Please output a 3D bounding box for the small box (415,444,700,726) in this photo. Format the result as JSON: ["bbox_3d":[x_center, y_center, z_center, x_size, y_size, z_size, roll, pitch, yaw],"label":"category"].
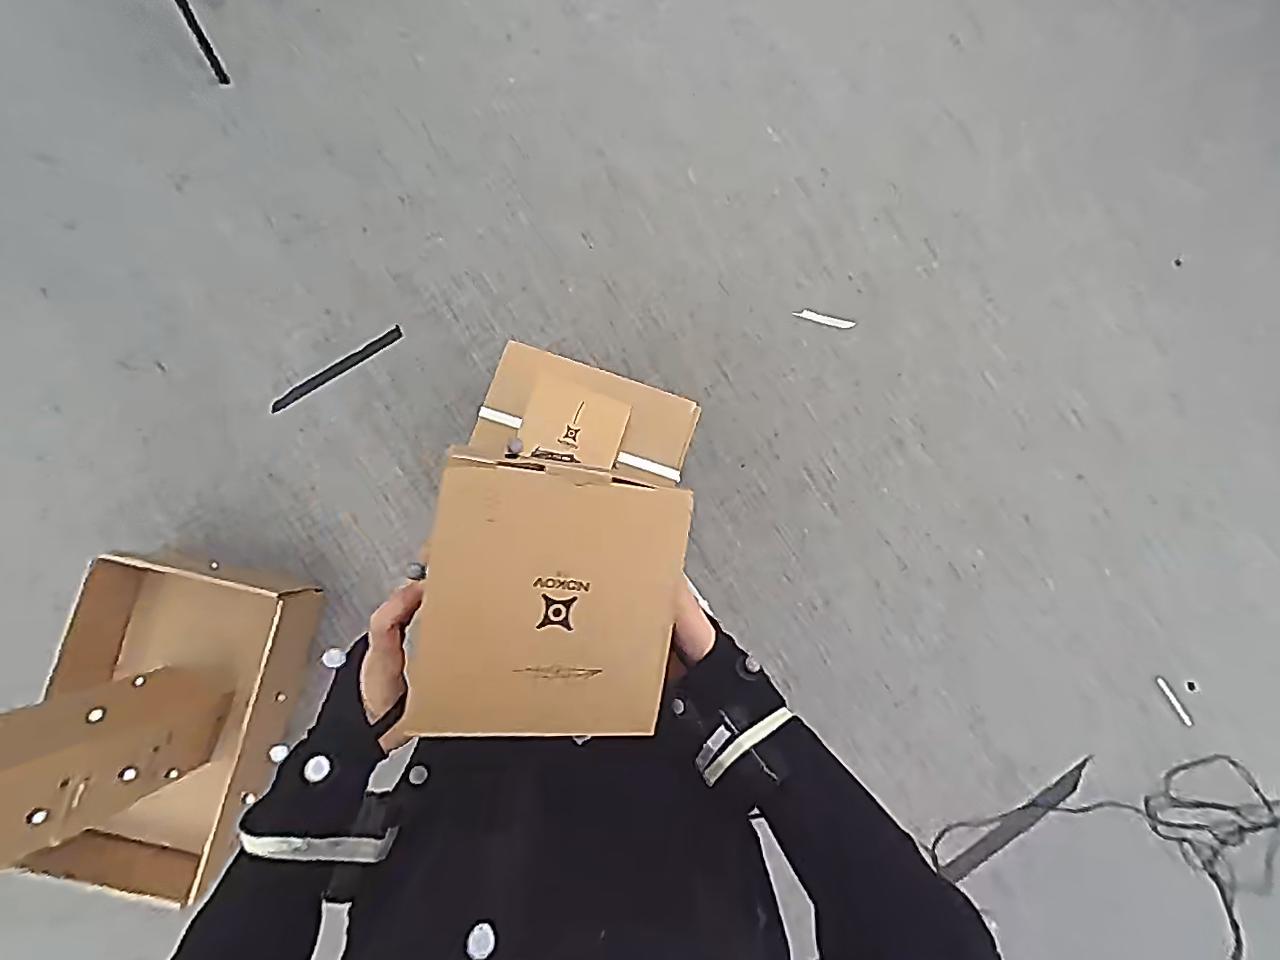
[{"bbox_3d":[-0.073,0.070,0.430,0.168,0.176,0.179,10,92,-18],"label":"small box"}]

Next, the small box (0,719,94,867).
[{"bbox_3d":[-0.991,0.472,0.795,0.179,0.176,0.168,17,83,-1],"label":"small box"}]

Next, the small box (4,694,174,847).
[{"bbox_3d":[-0.994,0.499,0.957,0.179,0.176,0.168,18,82,-2],"label":"small box"}]

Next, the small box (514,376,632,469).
[{"bbox_3d":[-0.120,-0.059,0.968,0.168,0.176,0.179,19,83,-2],"label":"small box"}]
